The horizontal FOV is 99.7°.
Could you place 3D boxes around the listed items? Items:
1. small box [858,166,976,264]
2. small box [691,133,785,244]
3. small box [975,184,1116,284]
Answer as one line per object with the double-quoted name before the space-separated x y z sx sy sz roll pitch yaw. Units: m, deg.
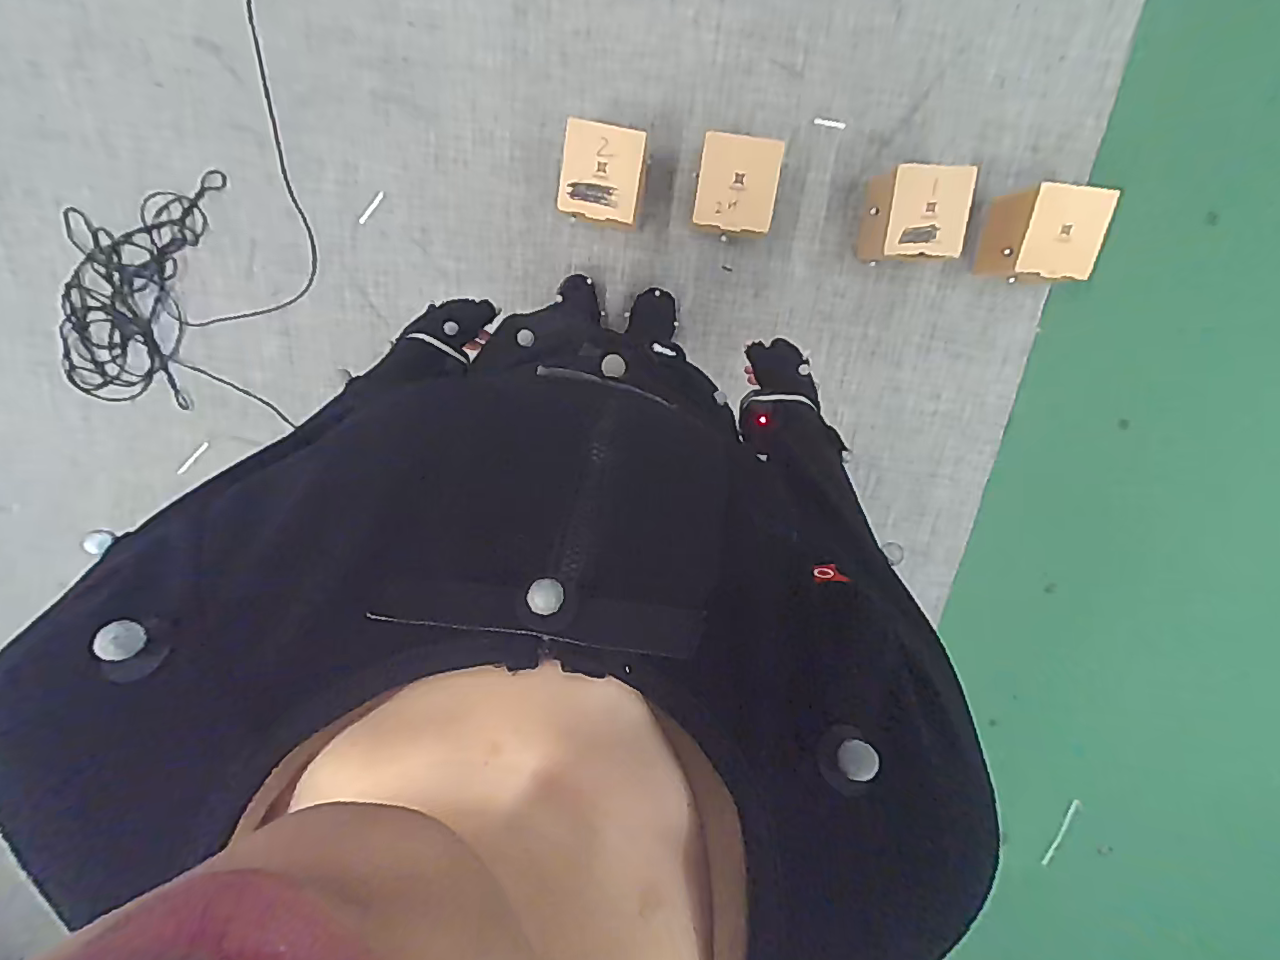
"small box" 0.605 -0.582 1.208 0.168 0.176 0.179 2 108 0
"small box" 0.207 -0.636 1.197 0.168 0.176 0.179 8 109 0
"small box" 0.895 -0.543 1.215 0.168 0.176 0.179 6 109 0
